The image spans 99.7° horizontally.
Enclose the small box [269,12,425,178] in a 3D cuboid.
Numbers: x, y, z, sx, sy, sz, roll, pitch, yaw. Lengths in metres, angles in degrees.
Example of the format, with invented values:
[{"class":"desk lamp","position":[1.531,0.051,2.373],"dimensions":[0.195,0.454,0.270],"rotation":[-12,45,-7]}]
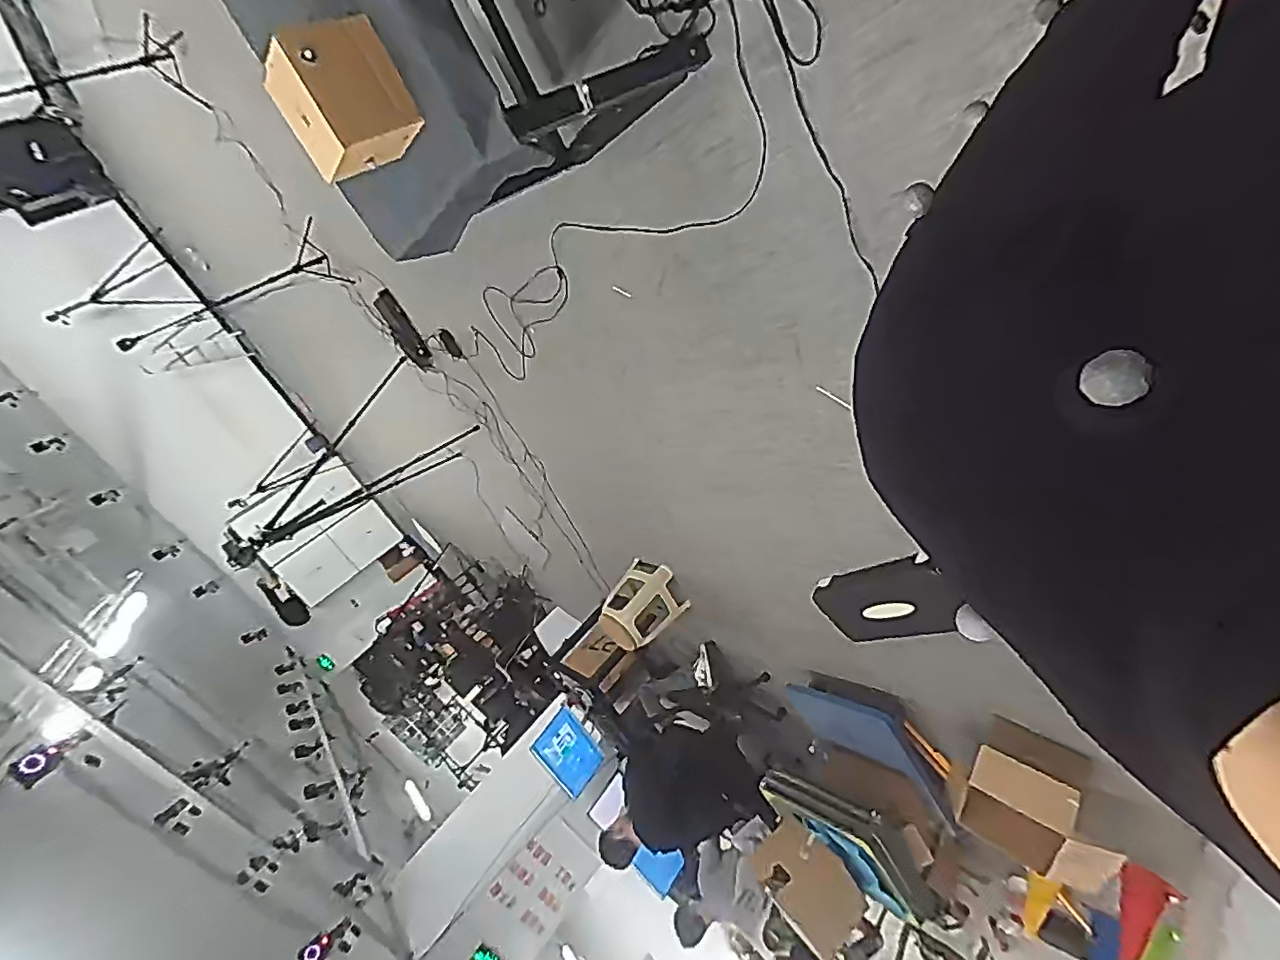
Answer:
[{"class":"small box","position":[-0.523,-0.689,0.975],"dimensions":[0.168,0.176,0.179],"rotation":[6,131,52]}]
